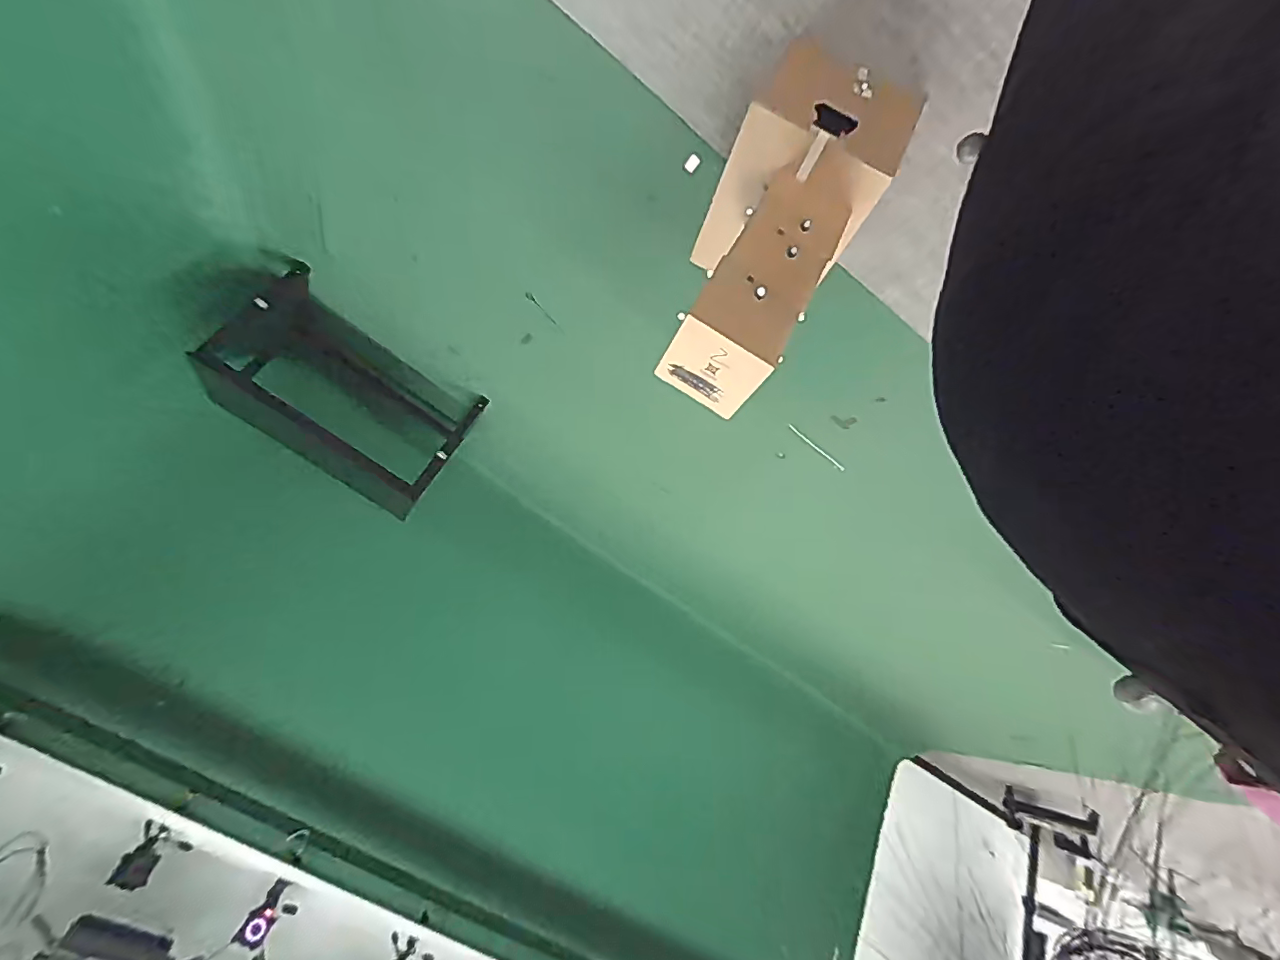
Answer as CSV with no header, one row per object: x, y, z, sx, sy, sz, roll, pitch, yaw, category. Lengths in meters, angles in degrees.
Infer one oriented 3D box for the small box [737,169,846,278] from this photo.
0.296,-0.498,1.119,0.179,0.176,0.168,30,152,-5,small box

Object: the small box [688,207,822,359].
0.223,-0.376,1.041,0.168,0.176,0.179,31,152,-6,small box

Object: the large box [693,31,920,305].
0.366,-0.695,1.254,0.320,0.320,0.408,29,154,1,large box
